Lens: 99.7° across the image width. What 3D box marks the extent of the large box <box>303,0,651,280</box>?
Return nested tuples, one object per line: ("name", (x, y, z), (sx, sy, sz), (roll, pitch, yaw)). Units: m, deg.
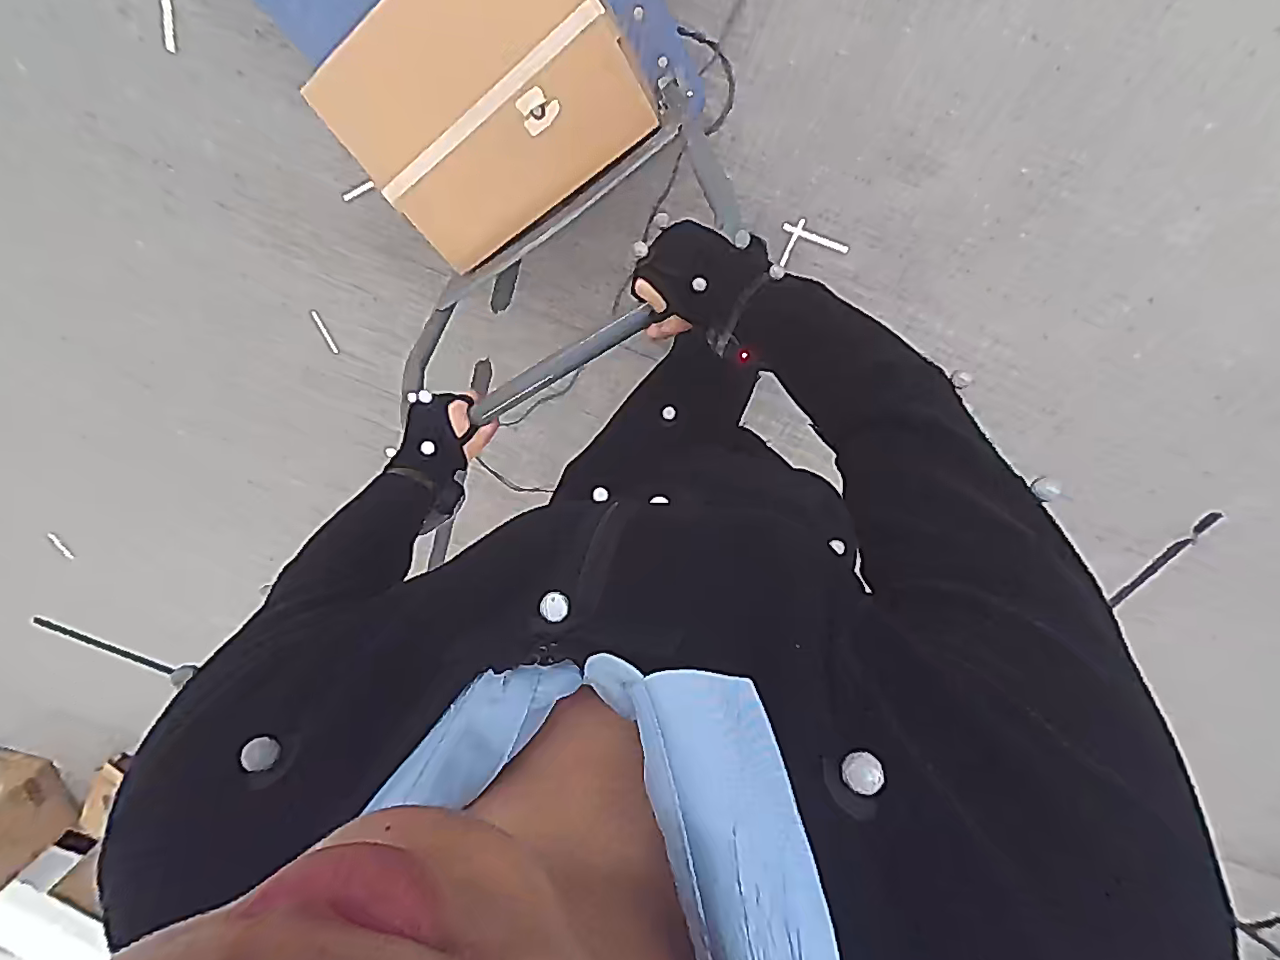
("large box", (-0.229, -0.611, 0.876), (0.408, 0.320, 0.320), (-28, 126, 21))
